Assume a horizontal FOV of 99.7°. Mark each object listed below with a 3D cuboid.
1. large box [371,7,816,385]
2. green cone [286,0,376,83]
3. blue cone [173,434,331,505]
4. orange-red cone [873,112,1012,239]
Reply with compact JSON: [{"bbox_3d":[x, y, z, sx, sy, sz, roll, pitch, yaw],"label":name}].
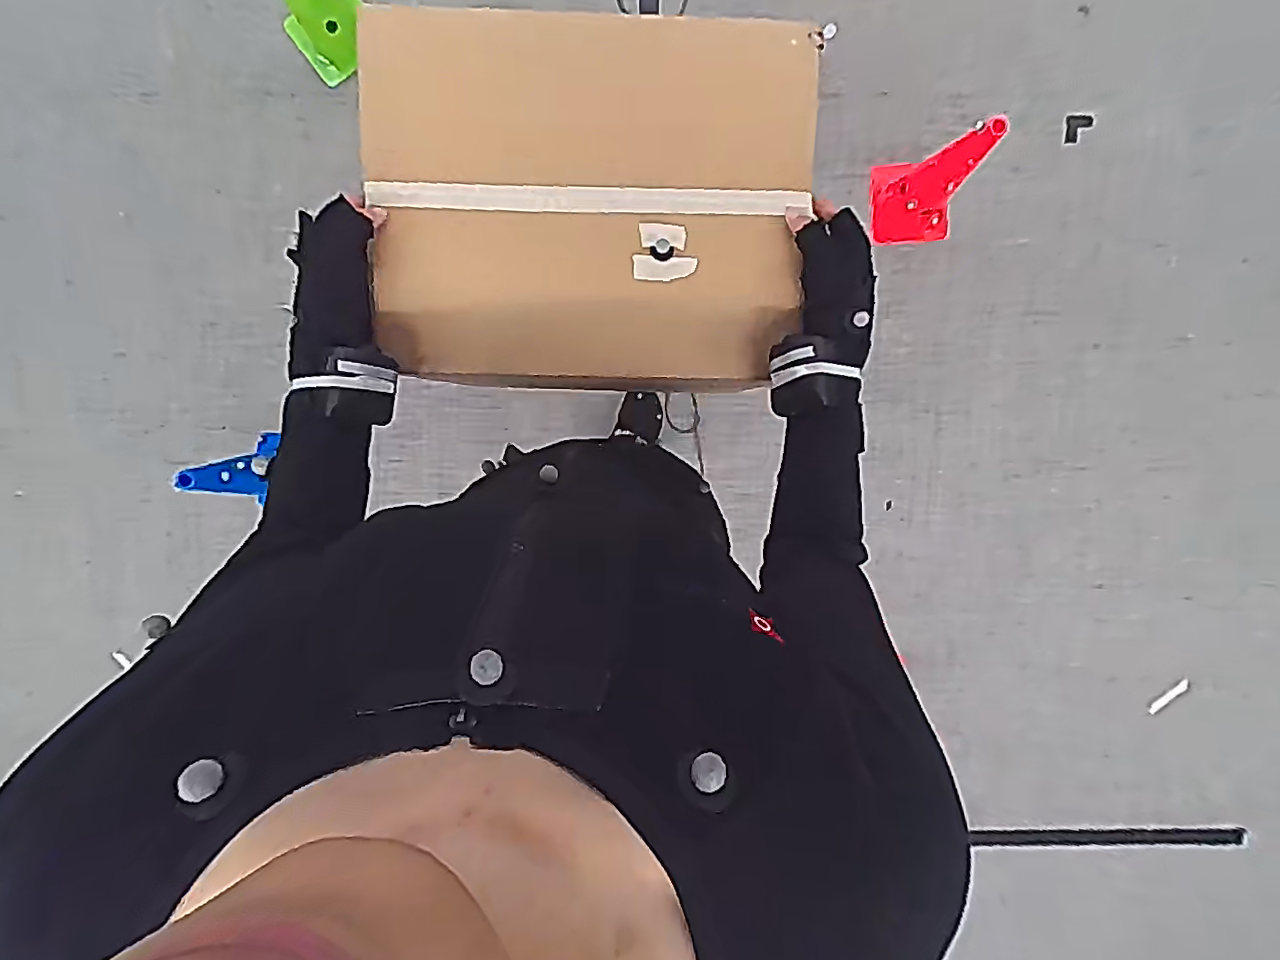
[{"bbox_3d":[-0.046,-0.280,0.645,0.408,0.320,0.320,1,97,-2],"label":"large box"},{"bbox_3d":[-0.772,-1.130,1.199,0.202,0.368,0.200,-37,93,4],"label":"green cone"},{"bbox_3d":[-0.935,-0.015,1.302,0.192,0.380,0.193,4,94,1],"label":"blue cone"},{"bbox_3d":[0.709,-0.719,1.236,0.198,0.360,0.199,-2,93,-1],"label":"orange-red cone"}]
